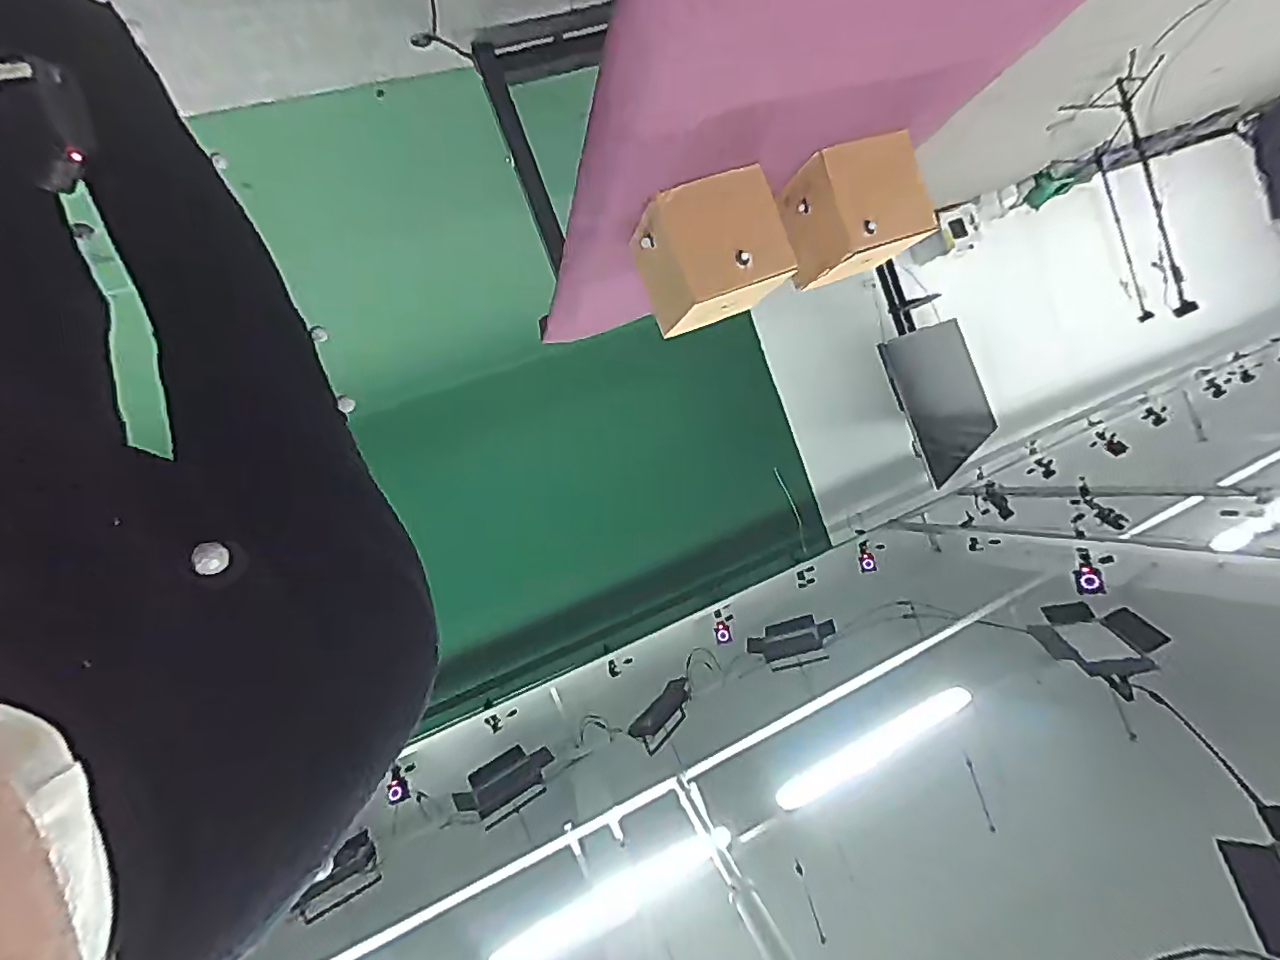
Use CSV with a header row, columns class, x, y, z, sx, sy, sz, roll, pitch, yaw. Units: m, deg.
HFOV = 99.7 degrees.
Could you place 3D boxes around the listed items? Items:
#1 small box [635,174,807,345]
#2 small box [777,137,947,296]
class,x,y,z,sx,sy,sz,roll,pitch,yaw
small box,0.115,-0.334,0.829,0.179,0.176,0.168,-23,-178,-14
small box,0.360,-0.435,0.901,0.179,0.176,0.168,-21,-177,-14
